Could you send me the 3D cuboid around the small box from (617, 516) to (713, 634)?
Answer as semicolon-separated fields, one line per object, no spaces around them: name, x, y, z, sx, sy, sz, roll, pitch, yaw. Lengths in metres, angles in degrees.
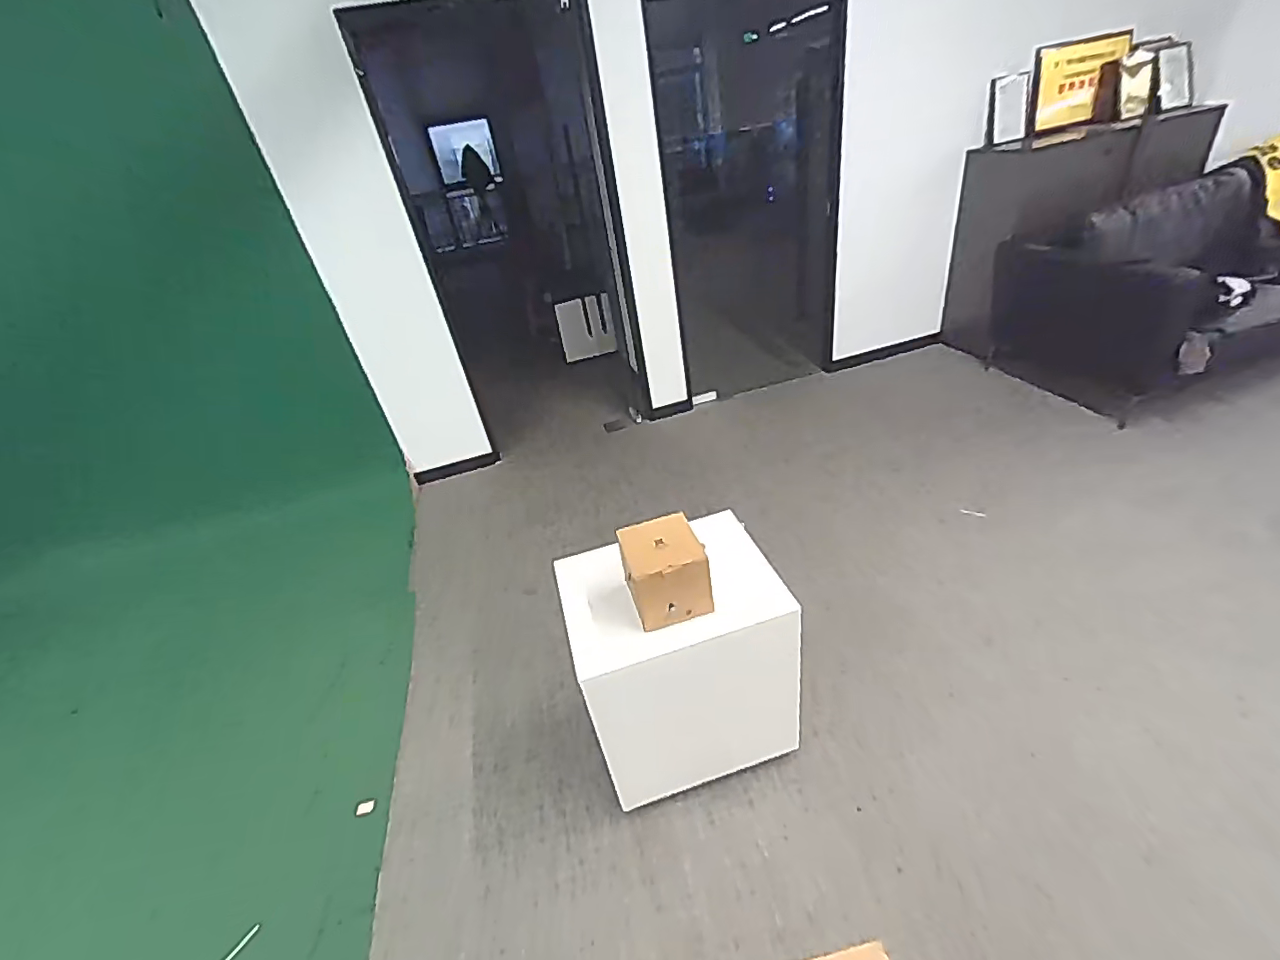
small box;0.056;0.212;1.218;0.168;0.176;0.179;-16;32;-8
